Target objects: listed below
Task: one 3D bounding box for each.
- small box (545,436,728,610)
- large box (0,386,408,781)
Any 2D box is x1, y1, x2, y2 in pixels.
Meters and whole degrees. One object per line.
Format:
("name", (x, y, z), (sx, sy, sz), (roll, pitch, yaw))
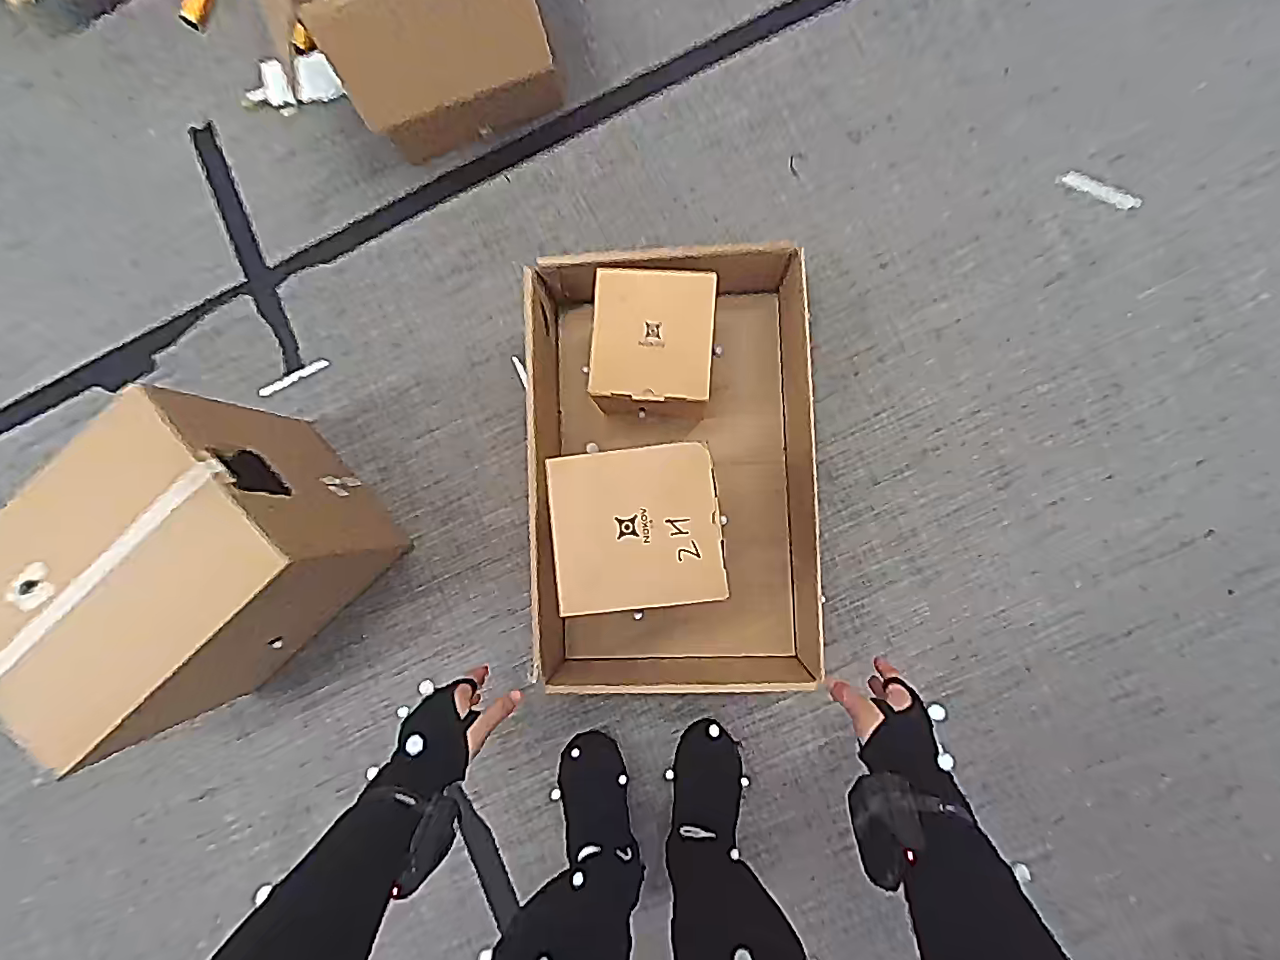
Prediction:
("small box", (0.000, 0.052, 0.627), (0.179, 0.176, 0.168), (-7, 84, 3))
("large box", (-0.654, 0.129, 0.817), (0.408, 0.320, 0.320), (-44, 84, 2))
